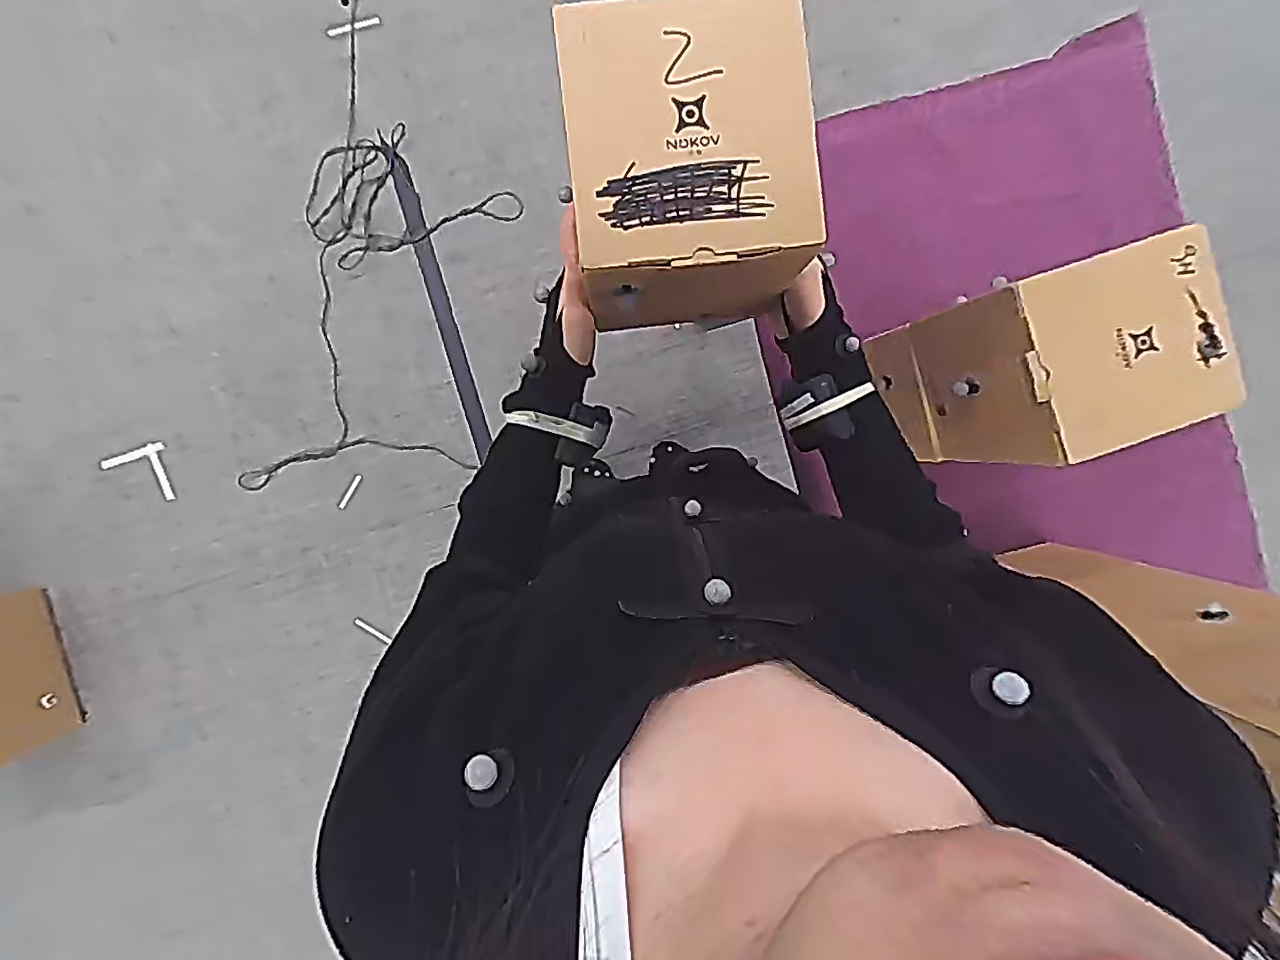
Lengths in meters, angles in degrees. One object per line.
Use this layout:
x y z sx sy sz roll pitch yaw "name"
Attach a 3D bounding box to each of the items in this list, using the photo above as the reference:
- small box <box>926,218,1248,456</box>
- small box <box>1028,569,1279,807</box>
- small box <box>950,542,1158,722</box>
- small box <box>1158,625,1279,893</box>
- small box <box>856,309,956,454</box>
0.418 -0.125 0.541 0.179 0.176 0.168 -18 95 -2 "small box"
0.561 0.204 0.566 0.179 0.176 0.168 -14 94 -1 "small box"
0.550 0.192 0.730 0.179 0.176 0.168 -14 95 -2 "small box"
0.547 0.222 0.404 0.179 0.176 0.168 -17 95 -2 "small box"
0.404 -0.132 0.705 0.179 0.176 0.168 -16 94 -2 "small box"
